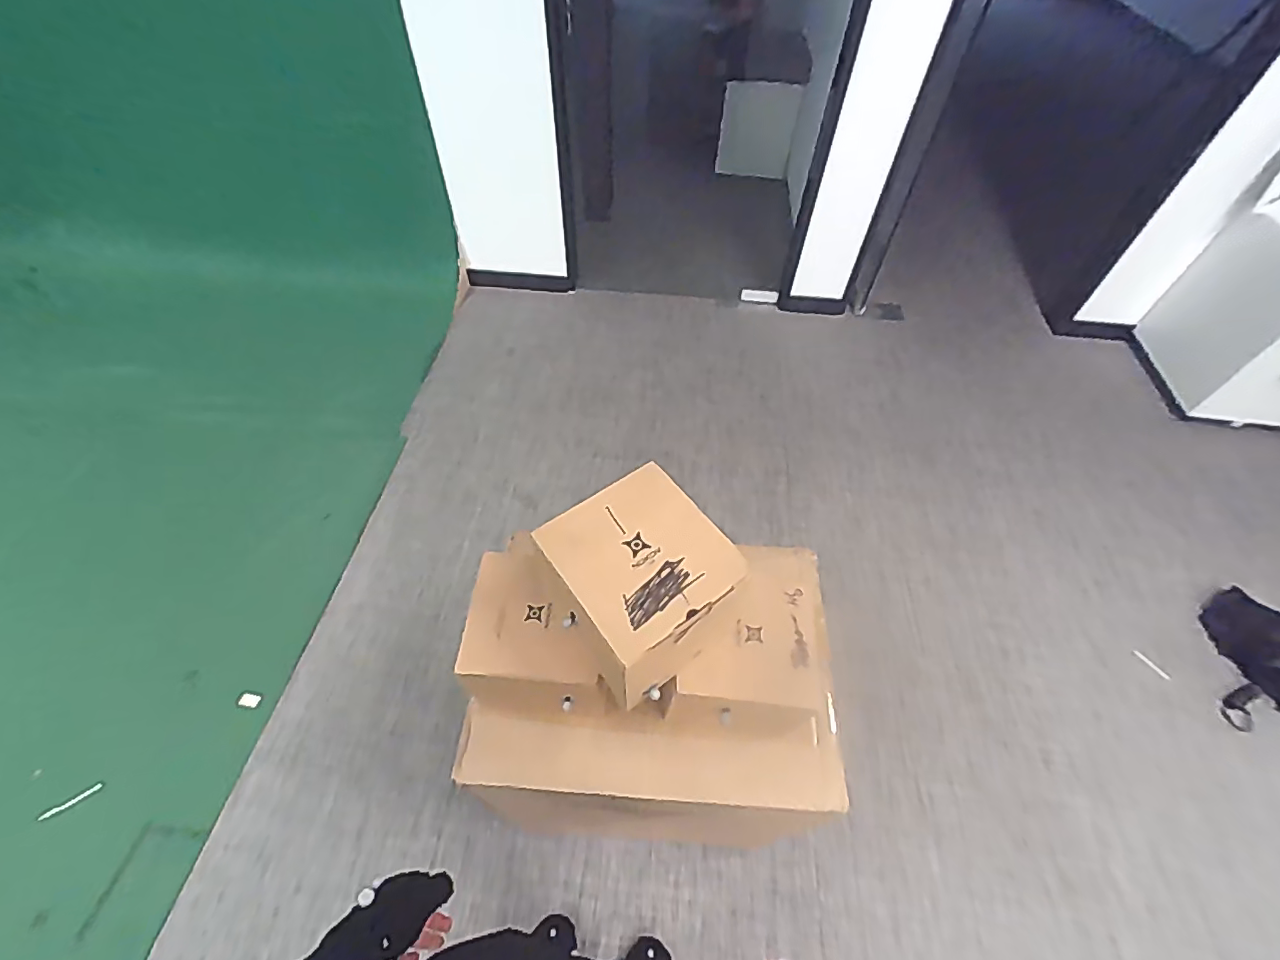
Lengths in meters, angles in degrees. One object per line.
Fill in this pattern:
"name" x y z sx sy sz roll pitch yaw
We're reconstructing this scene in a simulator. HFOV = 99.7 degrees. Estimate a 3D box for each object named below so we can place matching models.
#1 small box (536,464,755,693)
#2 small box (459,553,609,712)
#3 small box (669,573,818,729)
"small box" 0.003 0.121 0.626 0.168 0.176 0.179 -31 60 -21
"small box" -0.127 0.217 0.755 0.179 0.176 0.168 3 54 1
"small box" 0.133 0.238 0.750 0.179 0.176 0.168 5 56 3
